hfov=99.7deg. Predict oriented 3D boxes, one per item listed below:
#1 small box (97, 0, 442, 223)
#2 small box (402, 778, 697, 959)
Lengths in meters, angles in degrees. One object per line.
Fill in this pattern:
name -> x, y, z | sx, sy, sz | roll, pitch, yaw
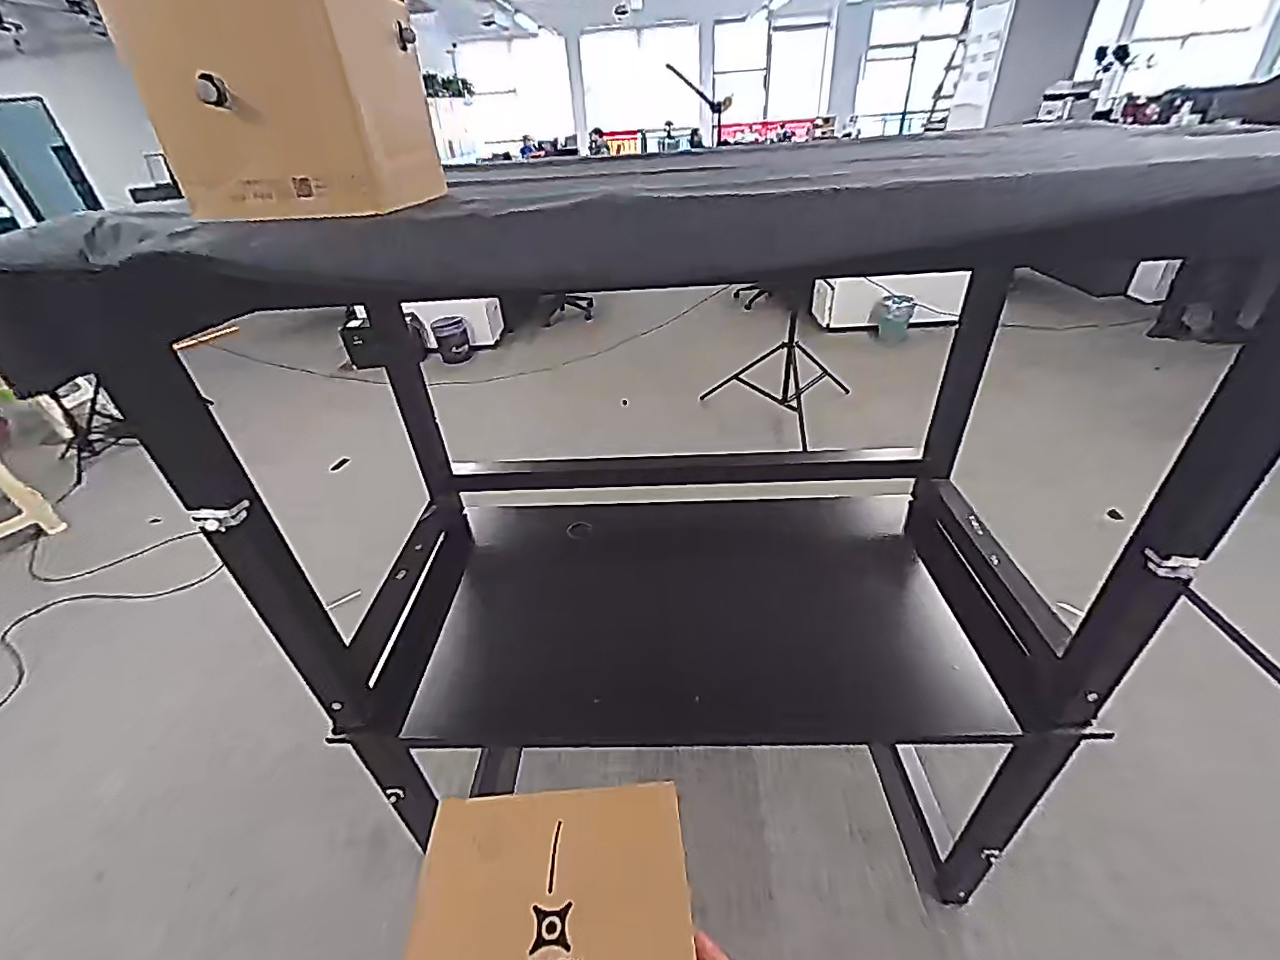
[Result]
small box -> -0.297, -0.331, 0.485 | 0.168, 0.176, 0.179 | -2, 32, 2
small box -> -0.047, 0.326, 0.343 | 0.168, 0.176, 0.179 | -3, 30, -2
